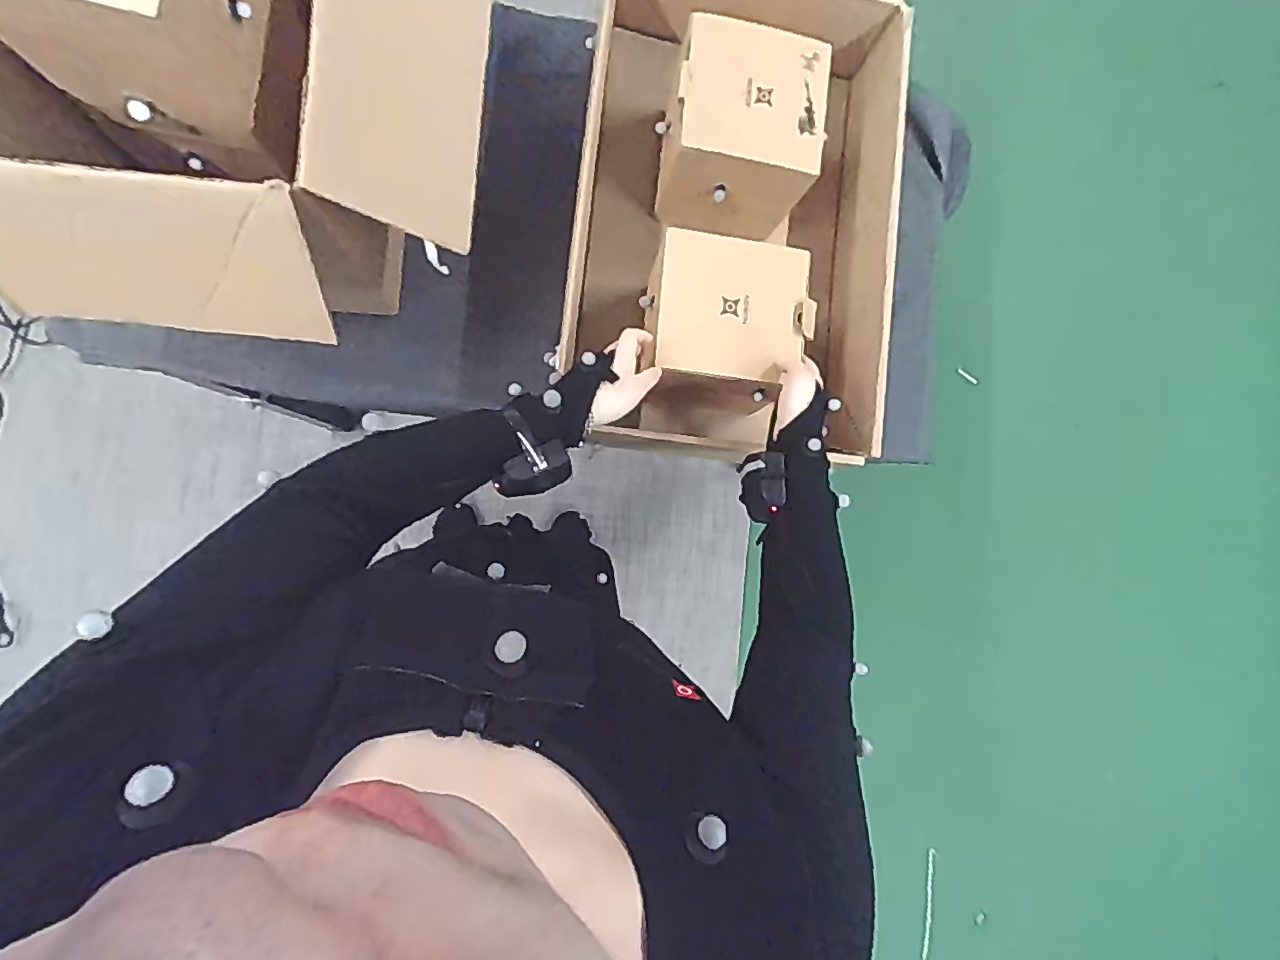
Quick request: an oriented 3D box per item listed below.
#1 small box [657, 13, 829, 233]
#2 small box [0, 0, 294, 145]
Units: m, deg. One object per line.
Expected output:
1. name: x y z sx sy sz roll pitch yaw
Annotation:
1. small box: 0.124 -0.454 0.718 0.179 0.176 0.168 7 89 -8
2. small box: -0.440 -0.449 0.481 0.168 0.176 0.179 9 88 -10
